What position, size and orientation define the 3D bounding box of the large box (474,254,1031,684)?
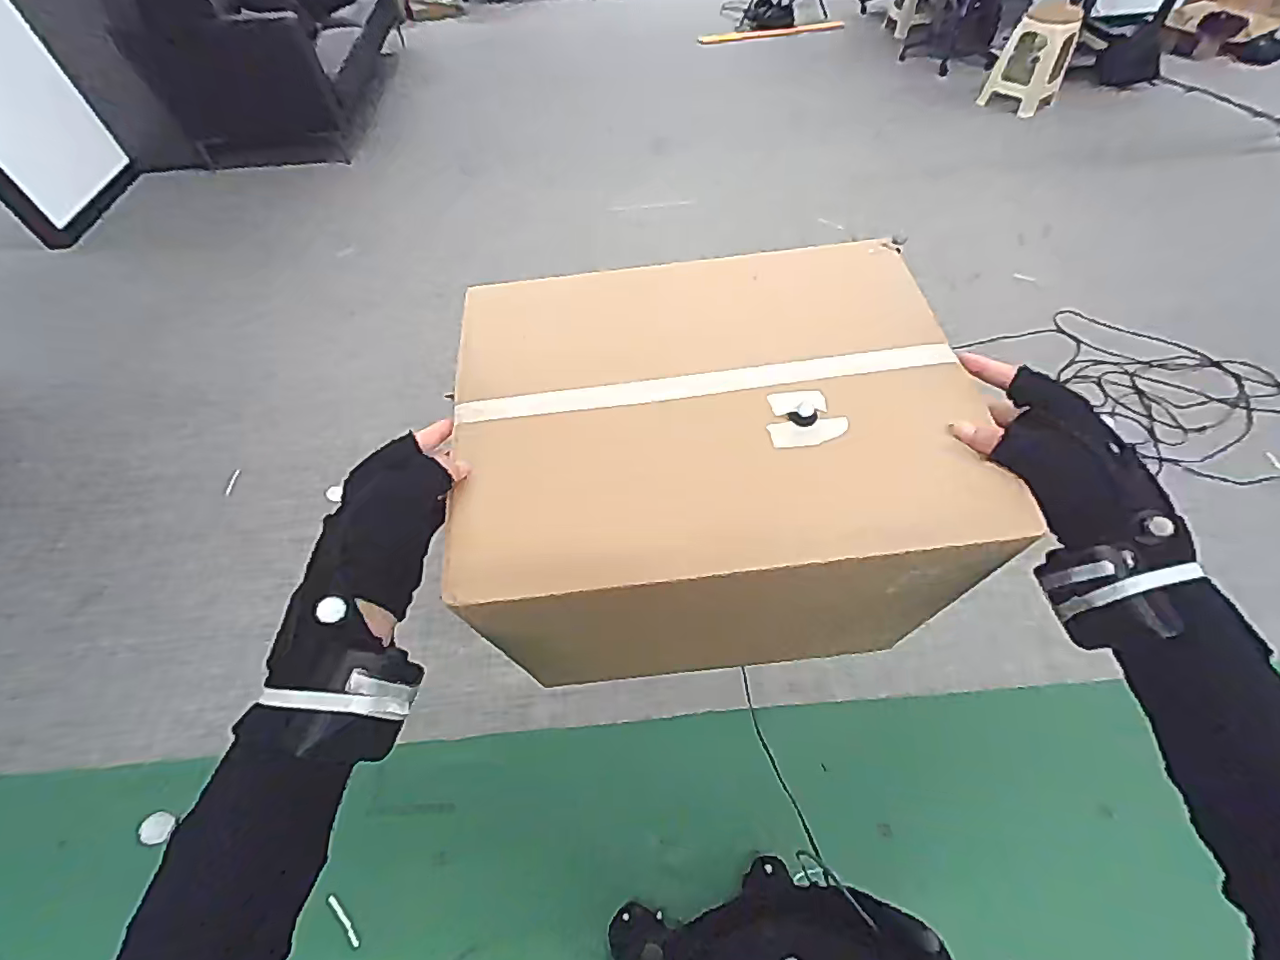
[{"bbox_3d":[0.069,0.007,0.577,0.408,0.320,0.320,-7,60,-1],"label":"large box"}]
